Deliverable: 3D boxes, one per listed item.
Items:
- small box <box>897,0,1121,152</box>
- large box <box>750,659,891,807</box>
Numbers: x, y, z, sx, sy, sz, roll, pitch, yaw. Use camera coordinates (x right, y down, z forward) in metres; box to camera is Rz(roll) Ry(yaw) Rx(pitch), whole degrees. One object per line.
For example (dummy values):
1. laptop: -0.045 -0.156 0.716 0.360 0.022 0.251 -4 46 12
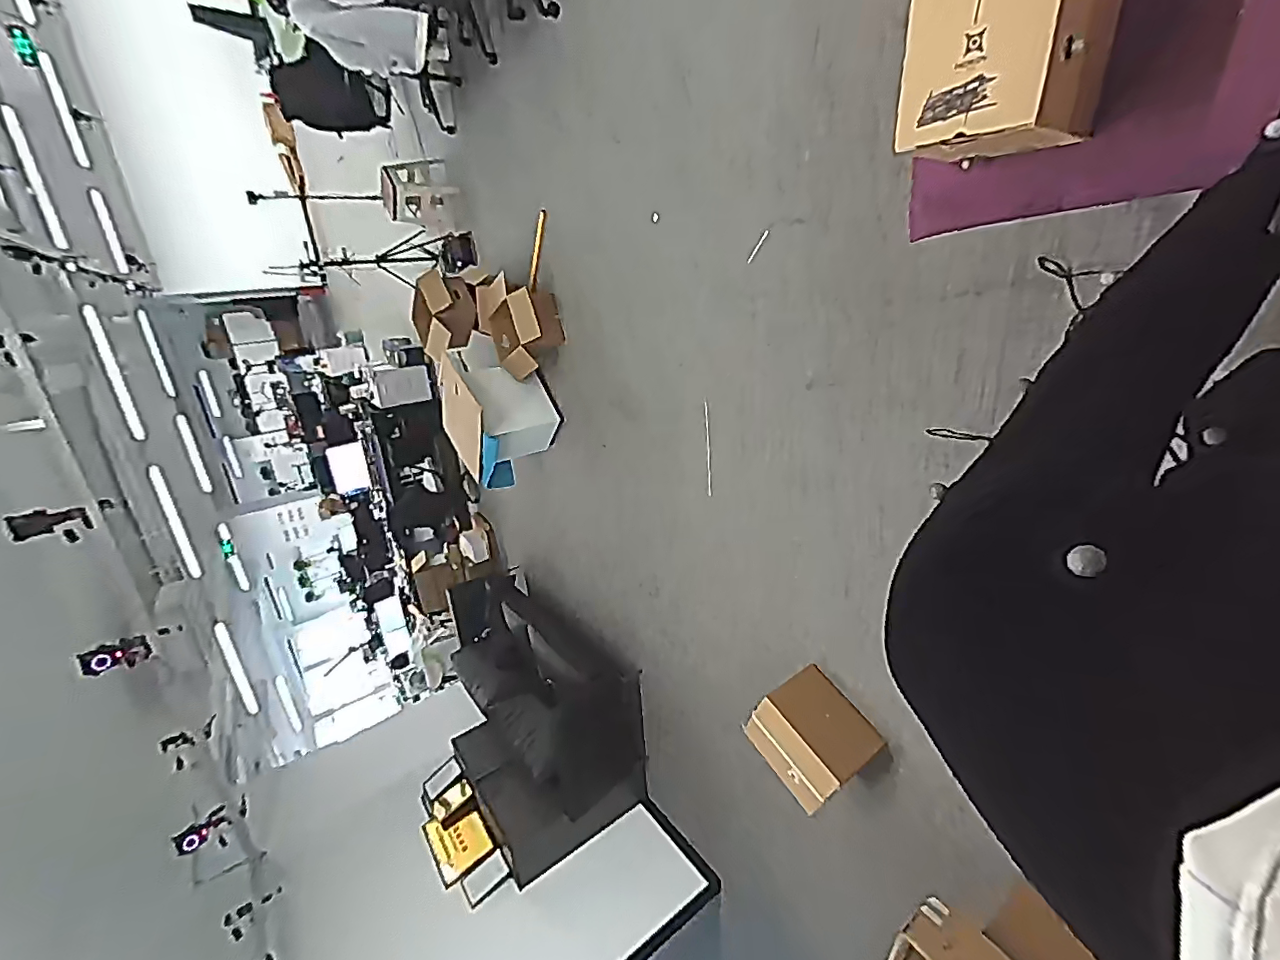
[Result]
1. small box: 0.444 -0.512 0.657 0.168 0.176 0.179 24 124 49
2. large box: 0.745 1.048 2.272 0.408 0.320 0.320 45 140 34
